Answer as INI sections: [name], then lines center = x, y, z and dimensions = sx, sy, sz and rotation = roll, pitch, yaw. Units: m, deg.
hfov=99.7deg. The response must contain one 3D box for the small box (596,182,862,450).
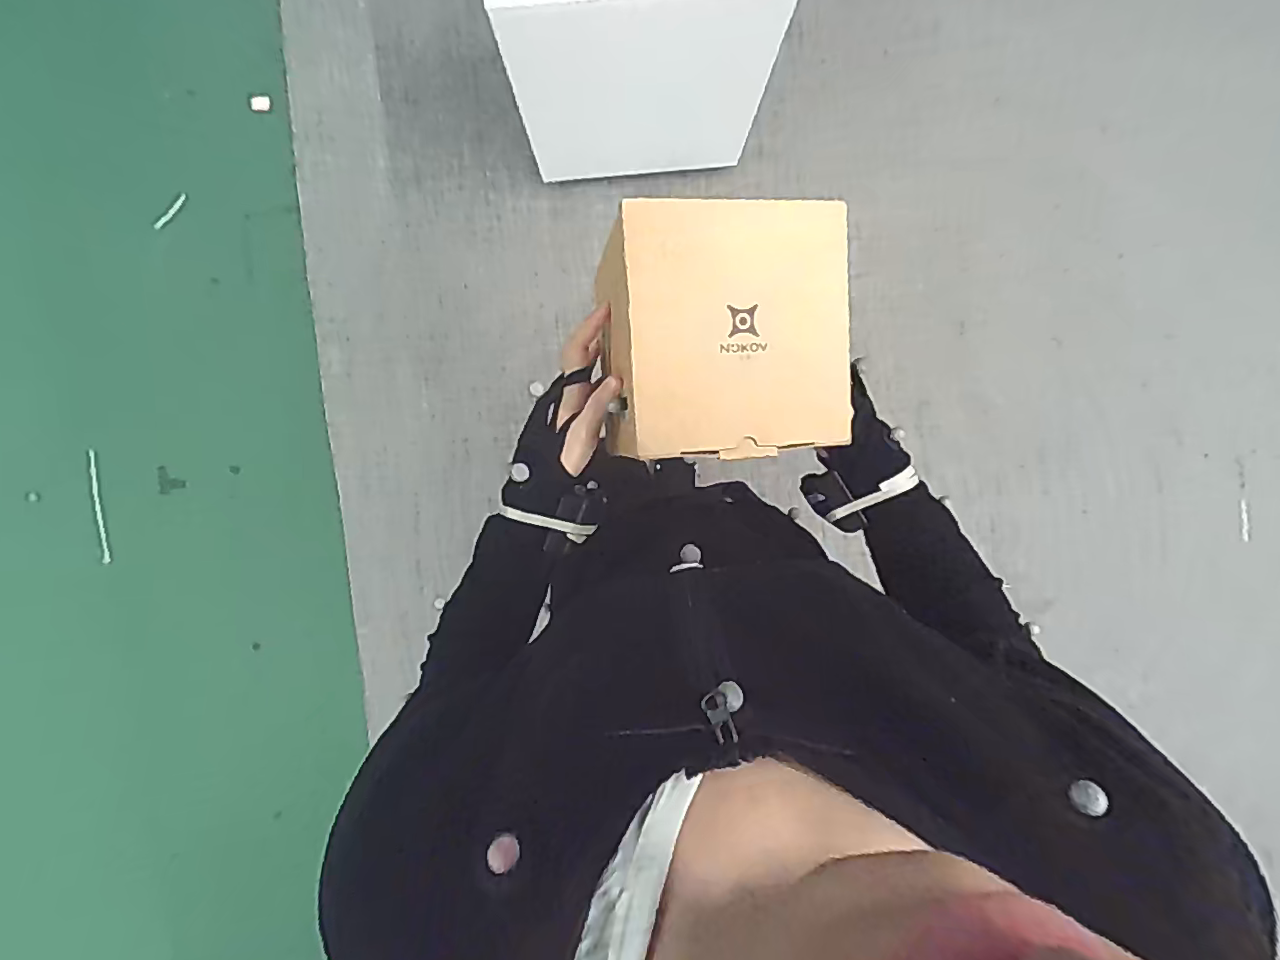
[small box]
center = 0.058, -0.117, 0.446
dimensions = 0.168, 0.176, 0.179
rotation = -6, 96, -10
